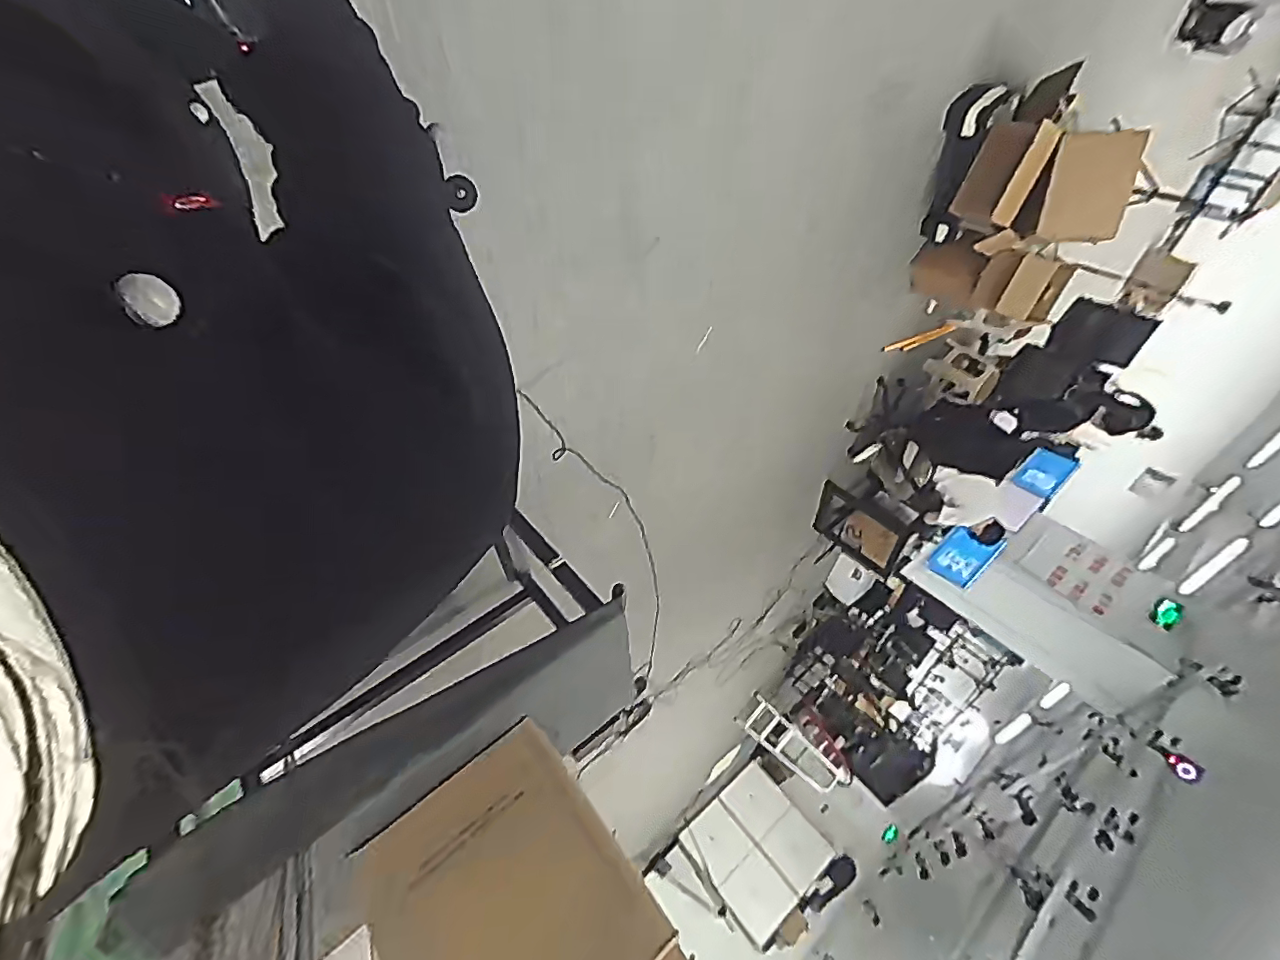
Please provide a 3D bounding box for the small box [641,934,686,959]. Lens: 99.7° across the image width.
[{"bbox_3d":[0.054,1.145,1.185,0.168,0.176,0.179,-37,143,-22],"label":"small box"}]
